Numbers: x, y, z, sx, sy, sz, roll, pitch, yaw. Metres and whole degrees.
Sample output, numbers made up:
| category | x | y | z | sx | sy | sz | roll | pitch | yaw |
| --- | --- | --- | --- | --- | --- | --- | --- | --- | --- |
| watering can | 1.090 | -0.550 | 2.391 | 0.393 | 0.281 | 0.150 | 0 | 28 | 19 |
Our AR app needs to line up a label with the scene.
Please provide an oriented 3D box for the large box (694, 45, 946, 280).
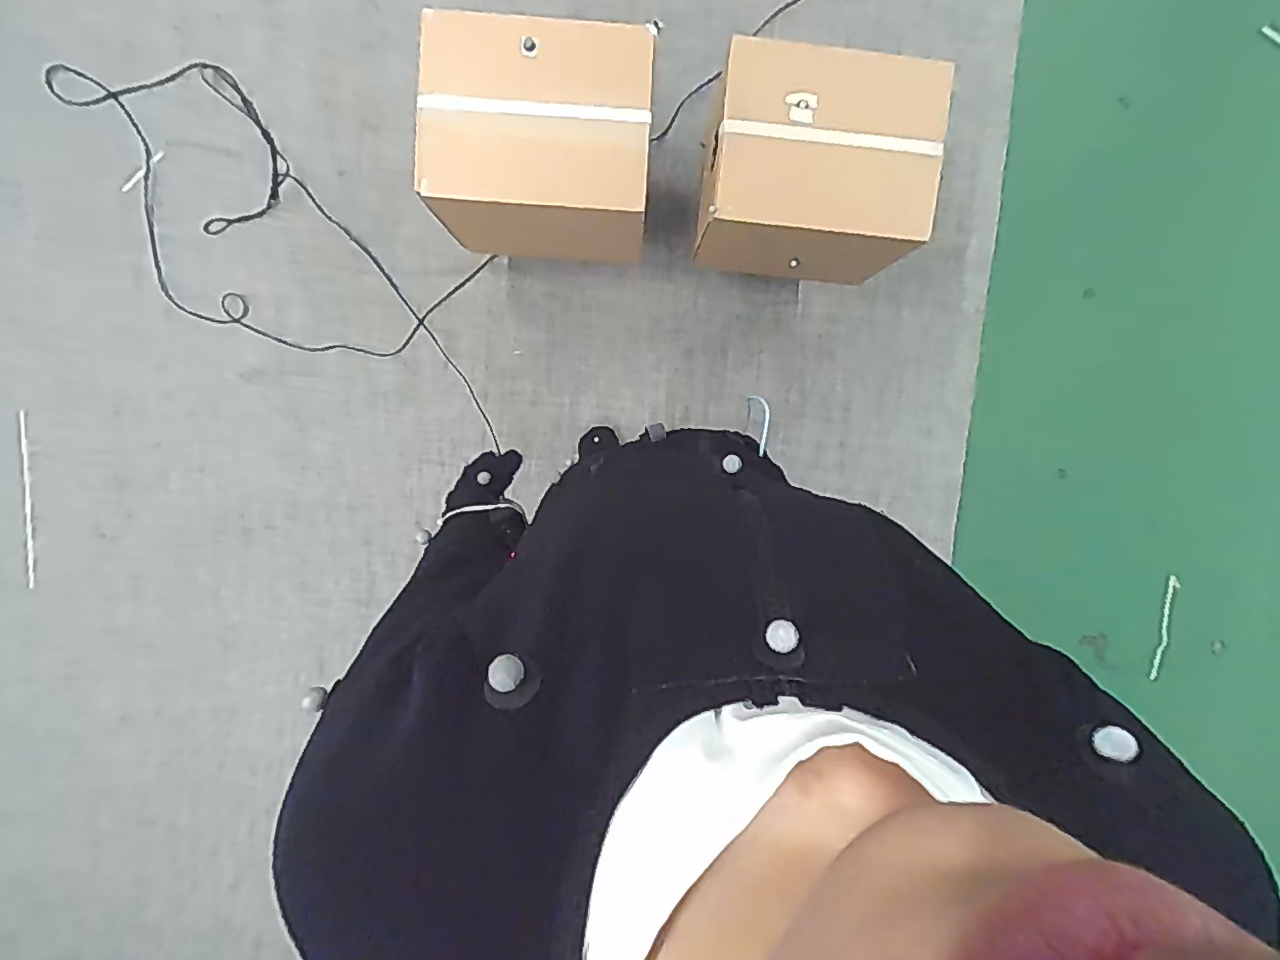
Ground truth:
| category | x | y | z | sx | sy | sz | roll | pitch | yaw |
| --- | --- | --- | --- | --- | --- | --- | --- | --- | --- |
| large box | 0.342 | -0.627 | 1.133 | 0.408 | 0.320 | 0.320 | 6 | 95 | -2 |
